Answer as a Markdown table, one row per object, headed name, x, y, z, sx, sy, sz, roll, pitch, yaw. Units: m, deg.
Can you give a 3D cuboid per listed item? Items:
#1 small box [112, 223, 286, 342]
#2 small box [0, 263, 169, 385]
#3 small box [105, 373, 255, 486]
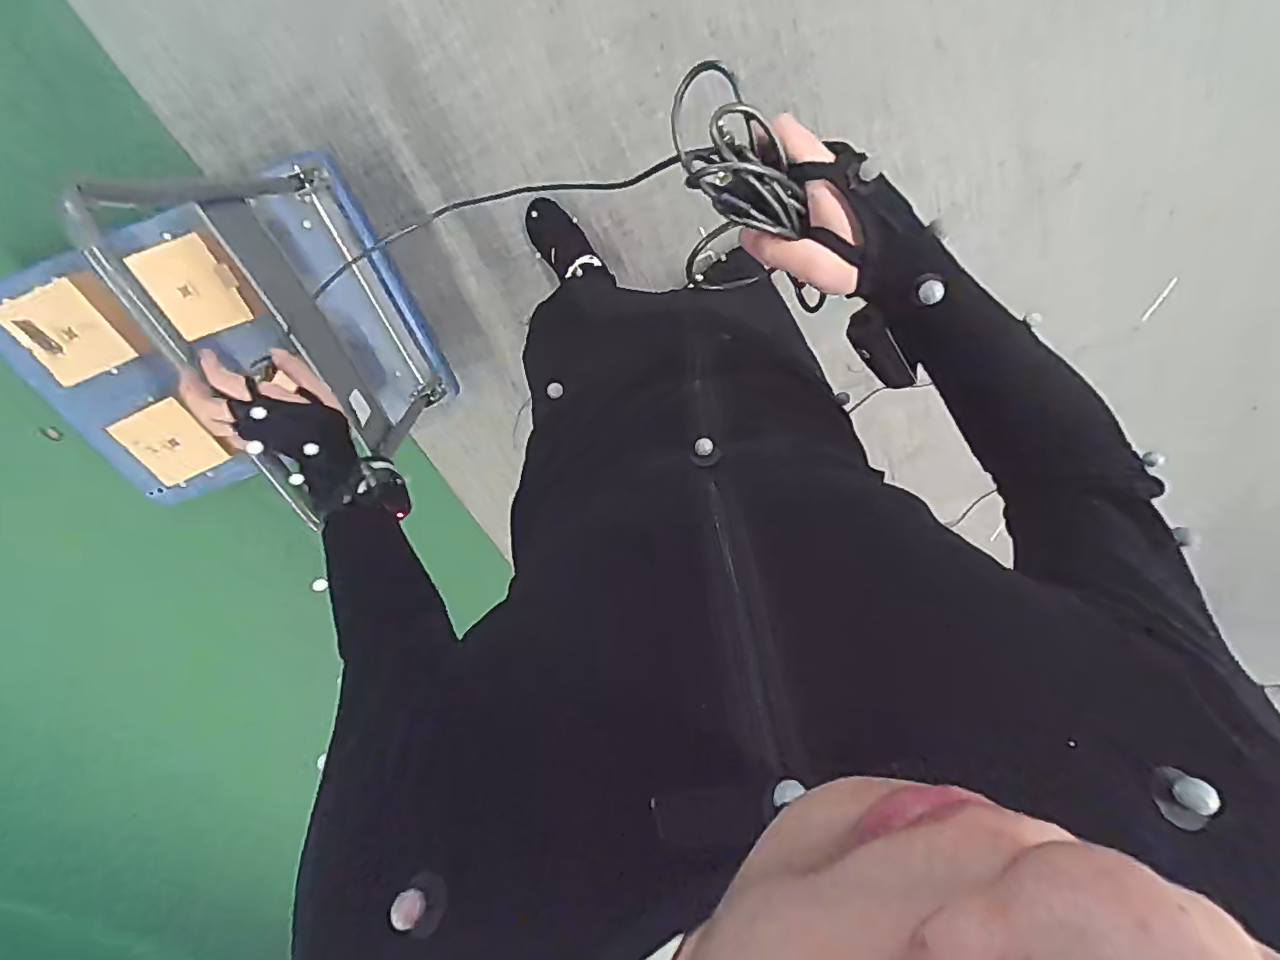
| name | x | y | z | sx | sy | sz | roll | pitch | yaw |
| --- | --- | --- | --- | --- | --- | --- | --- | --- | --- |
| small box | -0.868 | -0.400 | 1.088 | 0.179 | 0.176 | 0.168 | -18 | 121 | 2 |
| small box | -1.112 | -0.322 | 1.099 | 0.179 | 0.176 | 0.168 | -21 | 122 | 4 |
| small box | -1.027 | -0.120 | 1.233 | 0.179 | 0.176 | 0.168 | -22 | 120 | 6 |
